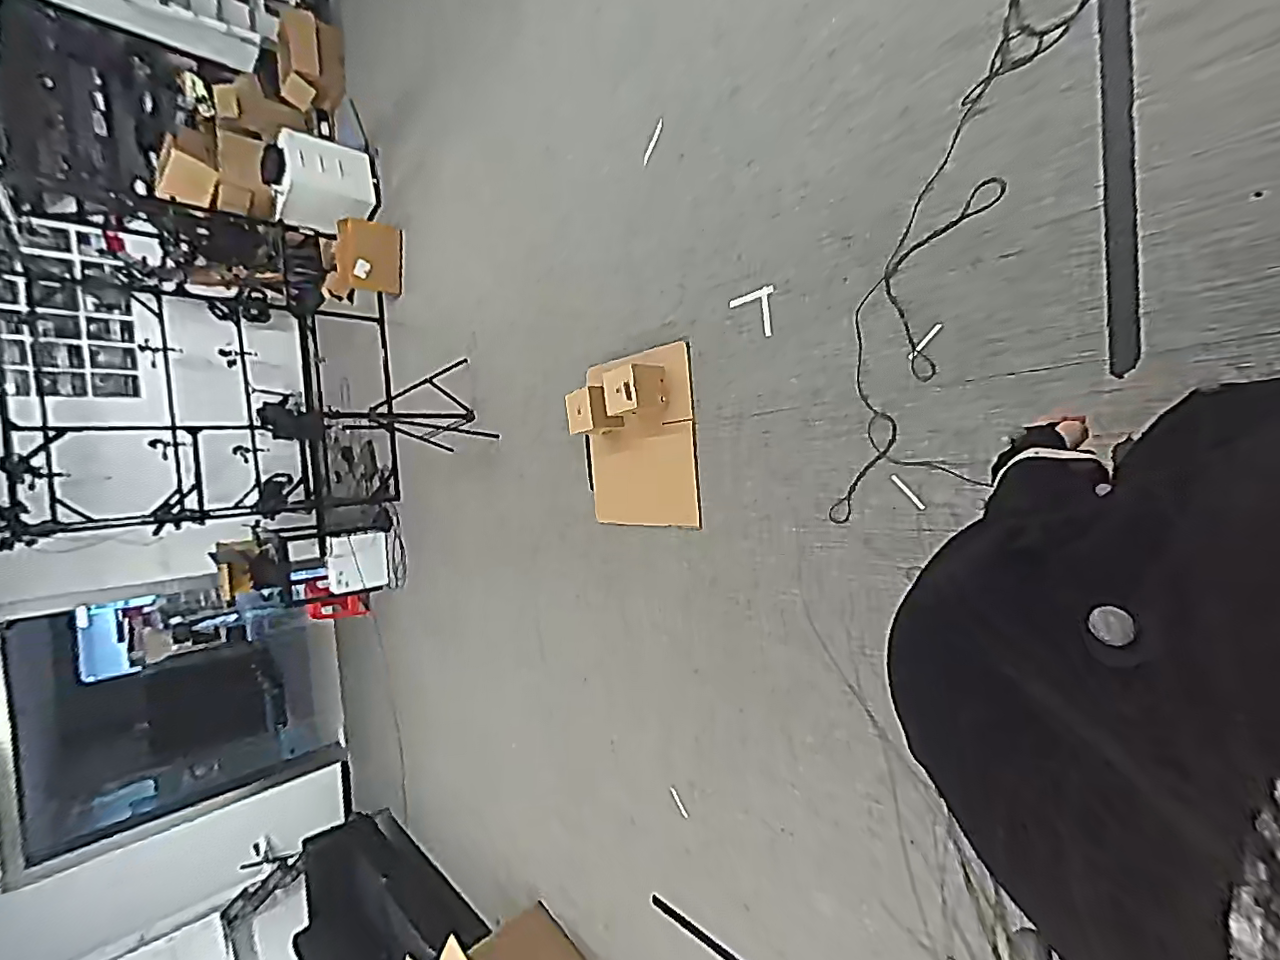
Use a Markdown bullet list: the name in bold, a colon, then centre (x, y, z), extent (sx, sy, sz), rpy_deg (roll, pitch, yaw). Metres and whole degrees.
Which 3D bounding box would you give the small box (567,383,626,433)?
- **small box**: centre (-0.181, -0.298, 2.257), extent (0.168, 0.176, 0.179), rpy_deg (-11, 87, 48)

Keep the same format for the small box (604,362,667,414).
- **small box**: centre (-0.012, -0.349, 2.066), extent (0.179, 0.176, 0.168), rpy_deg (-7, 89, 47)
